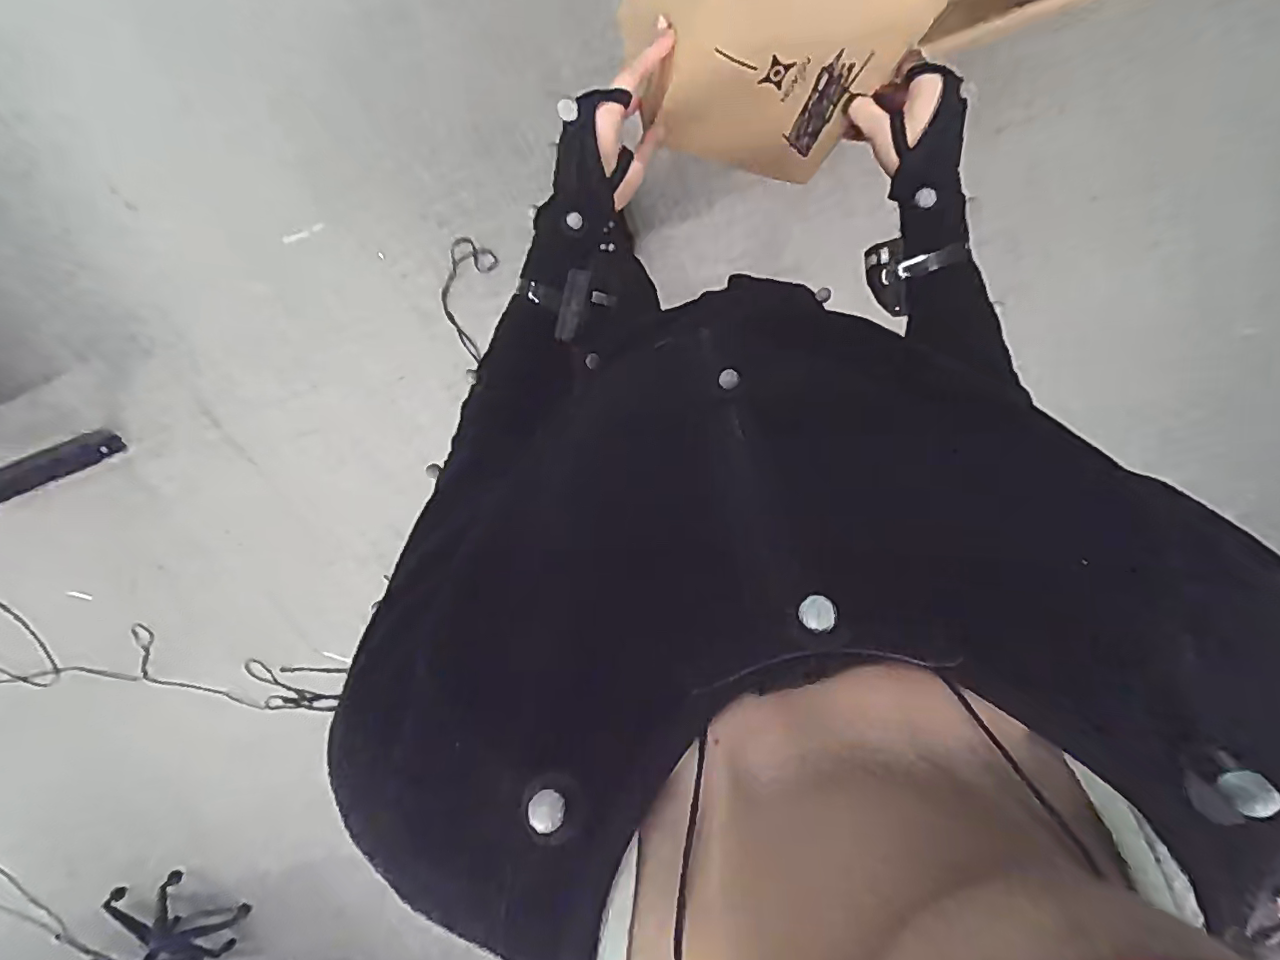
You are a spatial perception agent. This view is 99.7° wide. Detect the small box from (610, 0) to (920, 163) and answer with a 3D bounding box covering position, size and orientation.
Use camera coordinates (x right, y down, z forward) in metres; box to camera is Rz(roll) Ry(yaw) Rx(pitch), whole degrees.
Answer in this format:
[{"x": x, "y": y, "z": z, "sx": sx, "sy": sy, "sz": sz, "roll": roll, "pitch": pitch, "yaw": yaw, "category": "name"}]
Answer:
[{"x": 0.088, "y": -0.401, "z": 0.432, "sx": 0.179, "sy": 0.176, "sz": 0.168, "roll": 0, "pitch": 160, "yaw": -24, "category": "small box"}]
